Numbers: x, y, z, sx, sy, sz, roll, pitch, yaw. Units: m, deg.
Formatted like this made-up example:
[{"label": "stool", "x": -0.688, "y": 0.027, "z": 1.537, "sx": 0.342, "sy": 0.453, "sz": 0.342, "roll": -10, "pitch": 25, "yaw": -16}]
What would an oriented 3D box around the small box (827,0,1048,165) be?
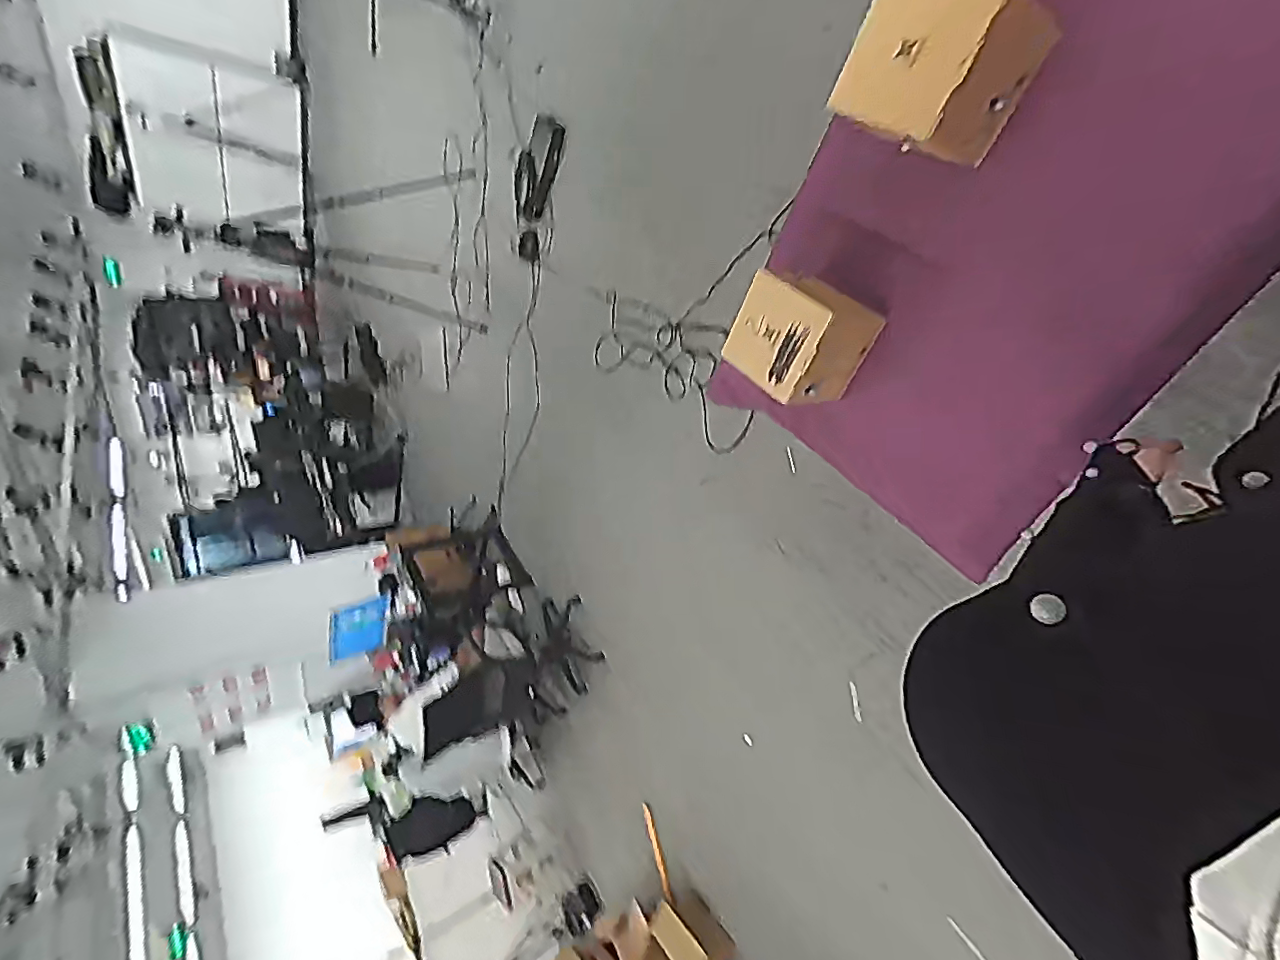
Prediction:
[{"label": "small box", "x": 0.405, "y": -0.560, "z": 0.744, "sx": 0.179, "sy": 0.176, "sz": 0.168, "roll": 47, "pitch": 131, "yaw": 32}]
